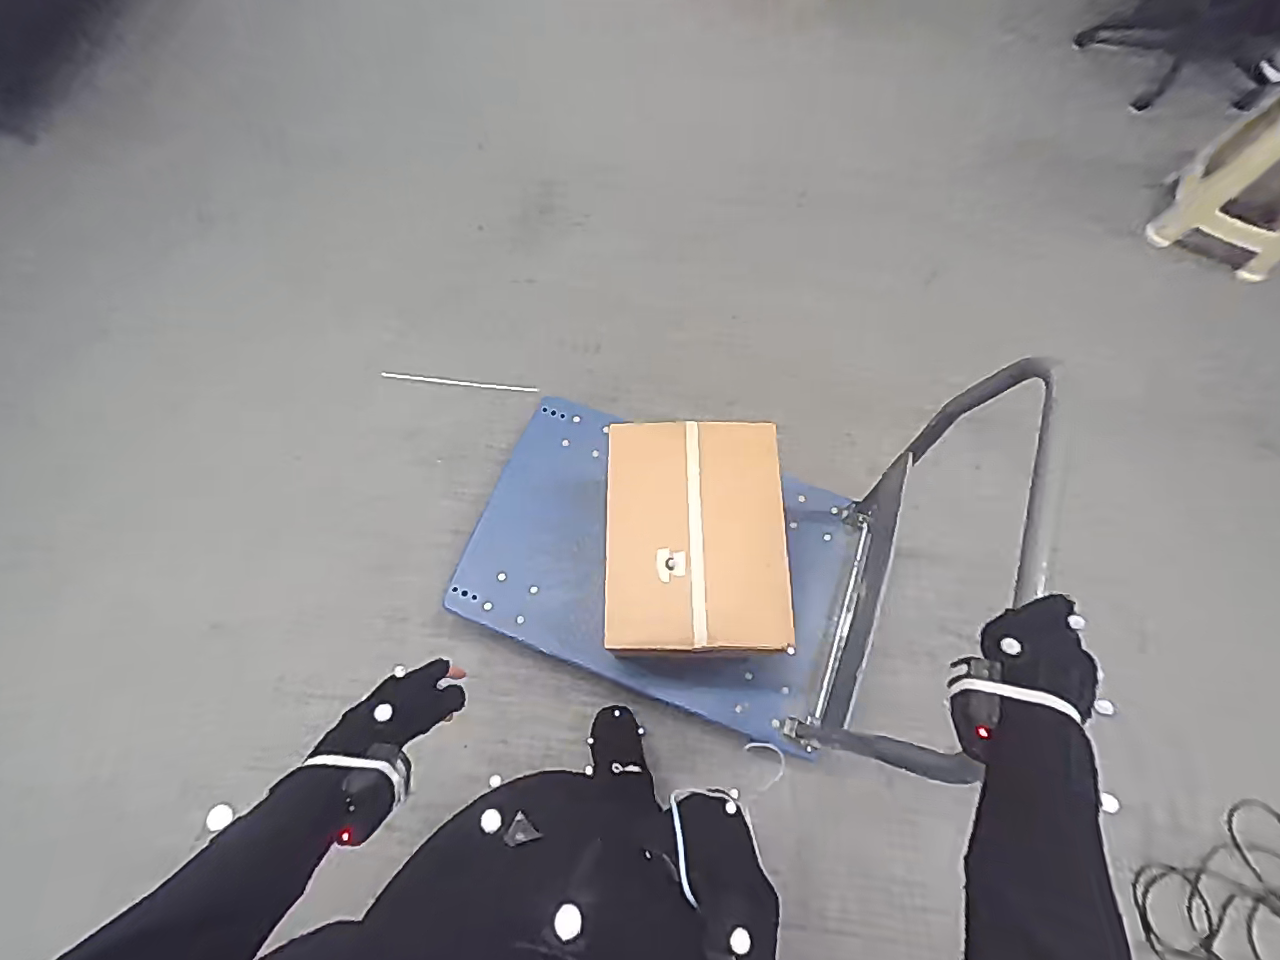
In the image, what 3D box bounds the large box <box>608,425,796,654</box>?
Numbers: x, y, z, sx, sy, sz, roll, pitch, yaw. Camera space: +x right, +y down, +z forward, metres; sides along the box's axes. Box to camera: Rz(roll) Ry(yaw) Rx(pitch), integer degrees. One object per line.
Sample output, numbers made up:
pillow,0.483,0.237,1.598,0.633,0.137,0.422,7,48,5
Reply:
large box,0.099,0.133,1.086,0.320,0.320,0.408,0,70,0
